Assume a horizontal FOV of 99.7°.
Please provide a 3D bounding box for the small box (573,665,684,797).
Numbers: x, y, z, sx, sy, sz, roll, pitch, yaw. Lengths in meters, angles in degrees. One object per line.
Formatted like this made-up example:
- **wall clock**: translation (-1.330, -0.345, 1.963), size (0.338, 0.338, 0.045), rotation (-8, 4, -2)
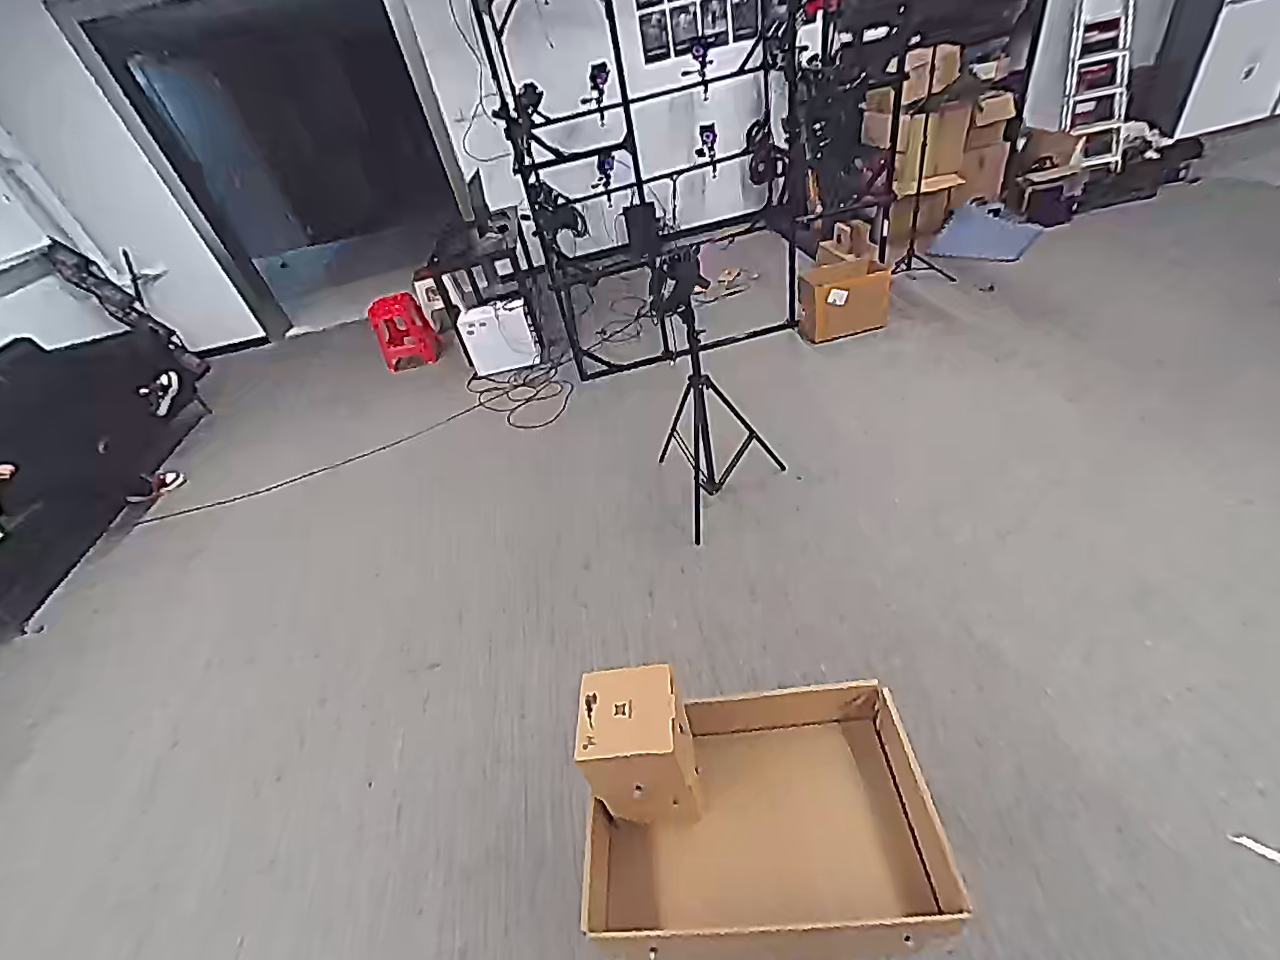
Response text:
- **small box**: translation (-0.012, 0.468, 1.004), size (0.179, 0.176, 0.168), rotation (-8, 38, 7)
